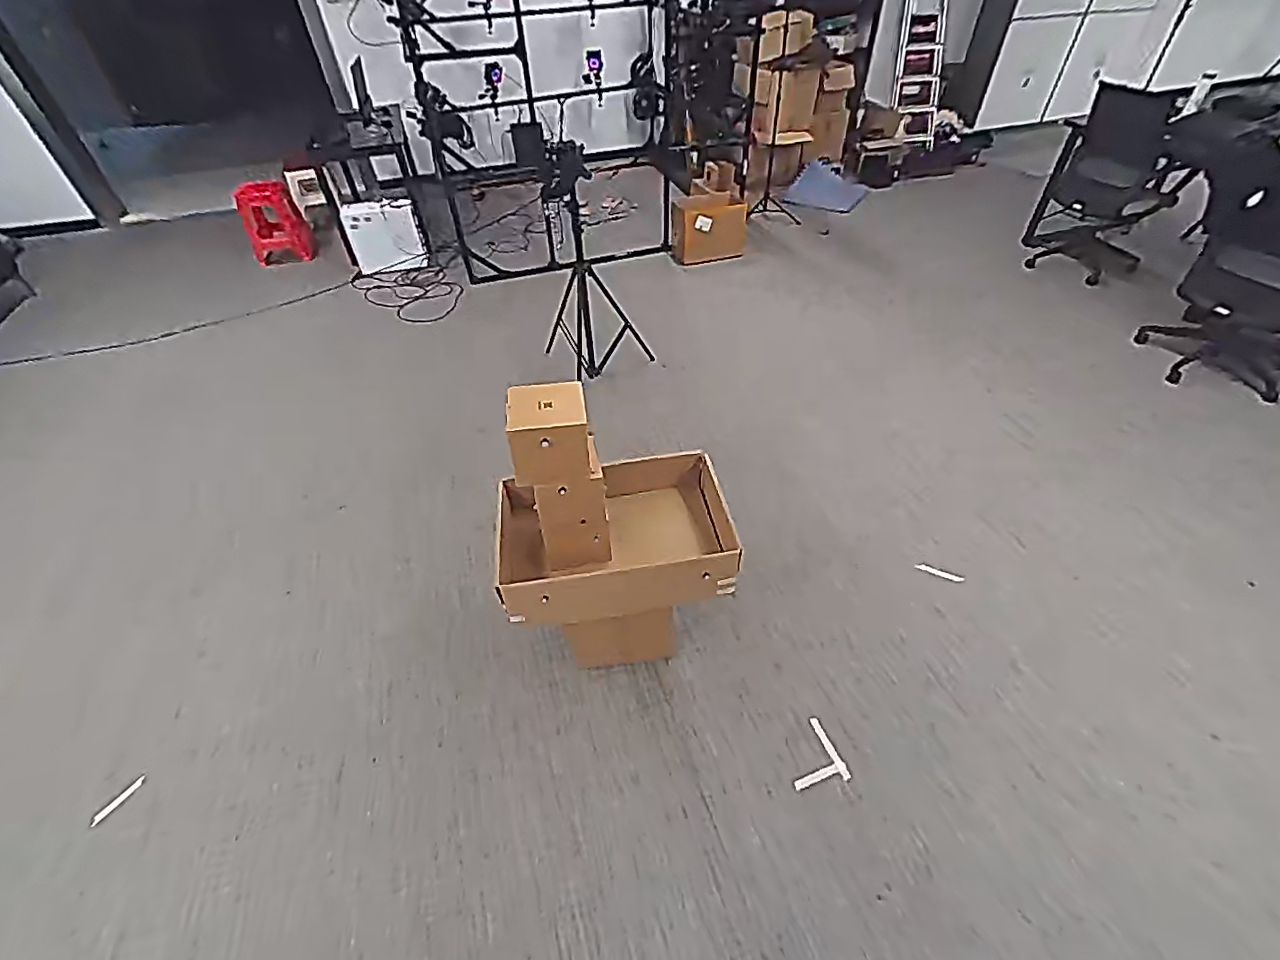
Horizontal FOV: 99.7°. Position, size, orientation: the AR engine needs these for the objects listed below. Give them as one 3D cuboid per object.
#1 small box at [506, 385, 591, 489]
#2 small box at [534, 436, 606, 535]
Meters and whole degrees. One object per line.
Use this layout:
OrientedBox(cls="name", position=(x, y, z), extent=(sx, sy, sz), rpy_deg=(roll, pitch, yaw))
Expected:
OrientedBox(cls="small box", position=(-0.209, -0.099, 1.260), extent=(0.179, 0.176, 0.168), rpy_deg=(-7, 44, -6))
OrientedBox(cls="small box", position=(-0.182, 0.014, 1.376), extent=(0.168, 0.176, 0.179), rpy_deg=(-9, 44, -8))
